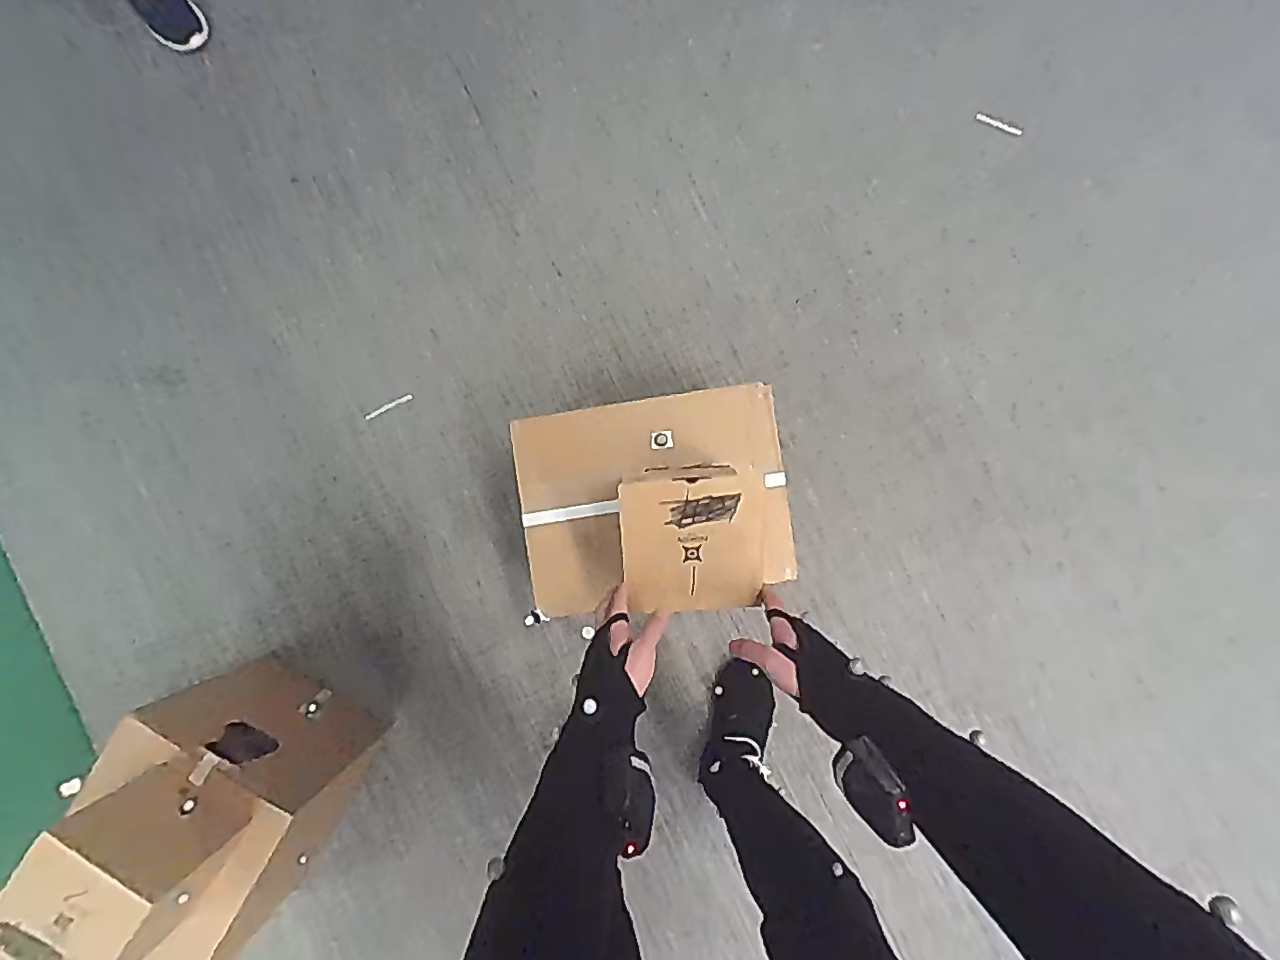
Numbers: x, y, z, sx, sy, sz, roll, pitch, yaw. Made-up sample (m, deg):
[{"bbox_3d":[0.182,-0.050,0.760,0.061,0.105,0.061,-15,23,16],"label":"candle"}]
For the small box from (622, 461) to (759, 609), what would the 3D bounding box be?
[{"bbox_3d":[0.060,0.069,0.735,0.168,0.176,0.179,-3,89,1],"label":"small box"}]

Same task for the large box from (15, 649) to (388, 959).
[{"bbox_3d":[-0.749,0.594,0.988,0.320,0.320,0.408,30,91,2],"label":"large box"}]
